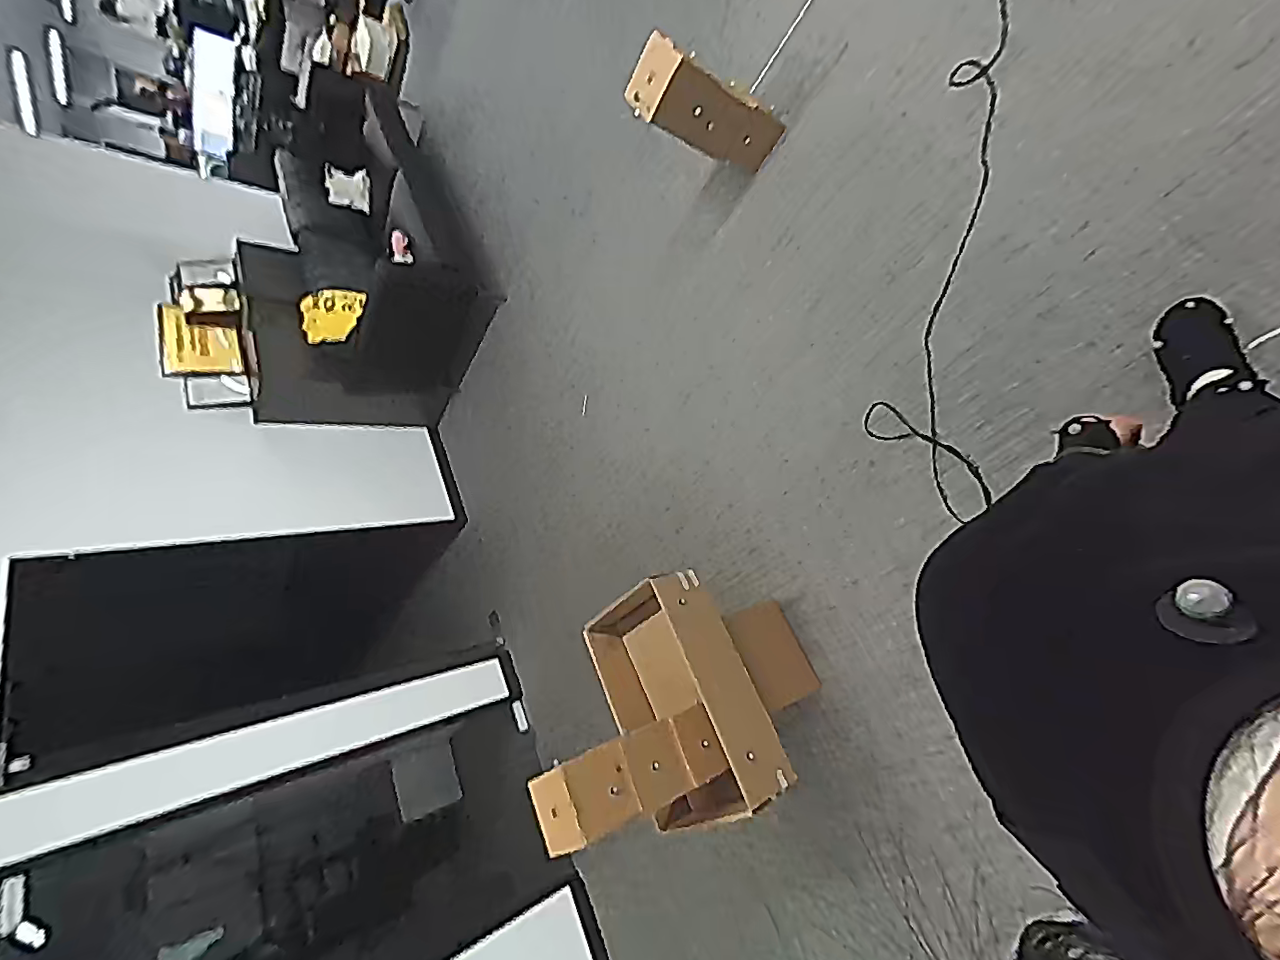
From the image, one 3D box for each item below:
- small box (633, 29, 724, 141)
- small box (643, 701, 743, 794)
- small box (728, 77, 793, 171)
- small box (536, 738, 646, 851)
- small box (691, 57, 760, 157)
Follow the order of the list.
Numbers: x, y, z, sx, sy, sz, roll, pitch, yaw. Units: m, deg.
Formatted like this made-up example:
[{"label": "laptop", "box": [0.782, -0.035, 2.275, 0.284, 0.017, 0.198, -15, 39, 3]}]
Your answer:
[{"label": "small box", "box": [0.118, -1.124, 1.551, 0.179, 0.176, 0.168, -50, 56, 38]}, {"label": "small box", "box": [0.144, 0.718, 1.469, 0.168, 0.176, 0.179, -44, 59, 41]}, {"label": "small box", "box": [0.362, -1.153, 1.767, 0.179, 0.176, 0.168, -48, 58, 39]}, {"label": "small box", "box": [-0.116, 0.736, 1.271, 0.179, 0.176, 0.168, -47, 58, 39]}, {"label": "small box", "box": [0.233, -1.140, 1.667, 0.179, 0.176, 0.168, -48, 58, 39]}]
